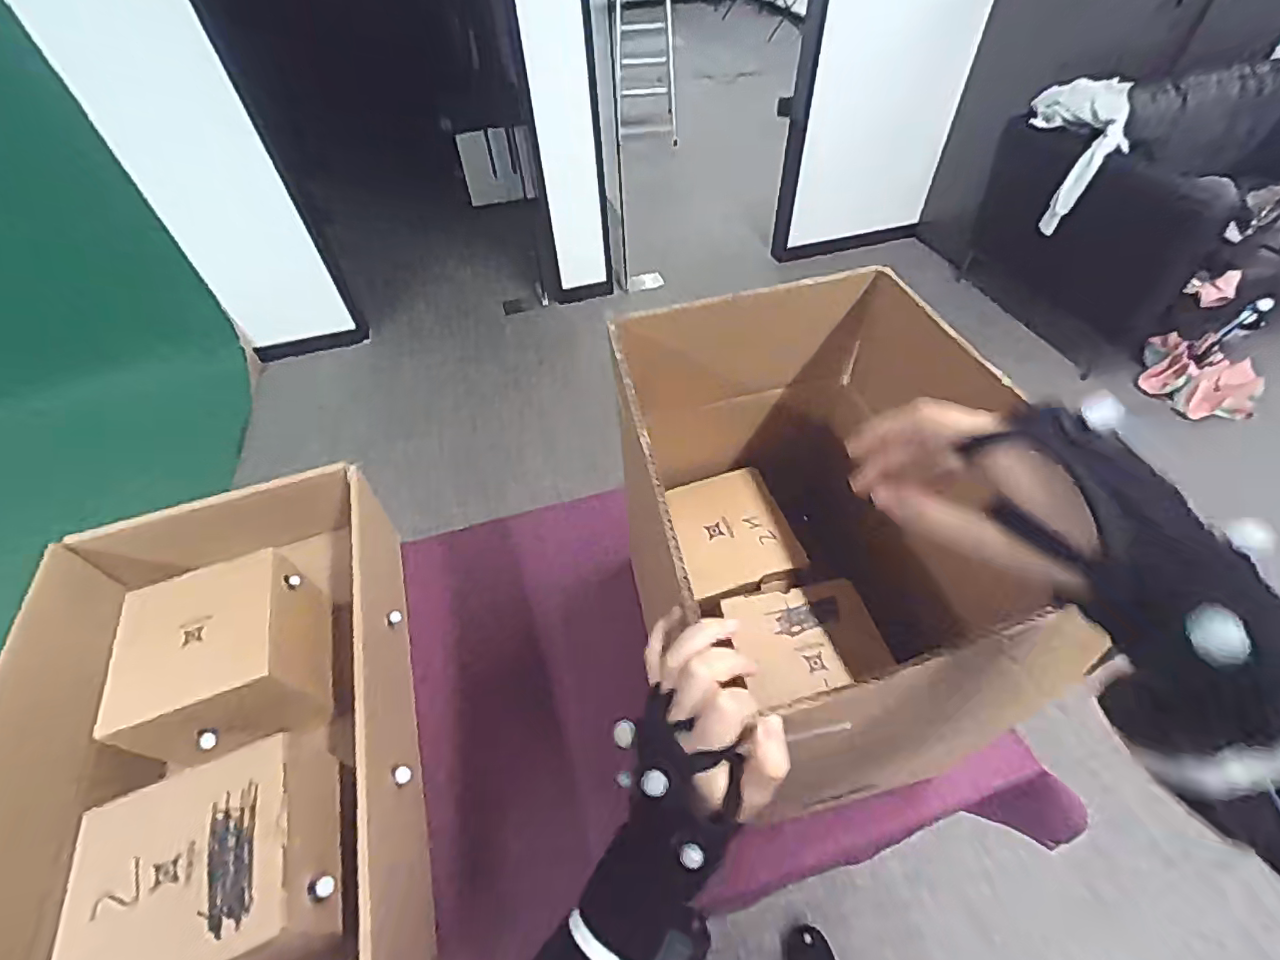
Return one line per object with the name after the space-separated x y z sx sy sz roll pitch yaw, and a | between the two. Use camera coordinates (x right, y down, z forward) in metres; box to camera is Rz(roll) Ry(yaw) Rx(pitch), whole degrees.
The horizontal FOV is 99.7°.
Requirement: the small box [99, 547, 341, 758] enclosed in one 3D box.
-0.491 0.219 0.666 0.168 0.176 0.179 -20 52 -11 | small box
